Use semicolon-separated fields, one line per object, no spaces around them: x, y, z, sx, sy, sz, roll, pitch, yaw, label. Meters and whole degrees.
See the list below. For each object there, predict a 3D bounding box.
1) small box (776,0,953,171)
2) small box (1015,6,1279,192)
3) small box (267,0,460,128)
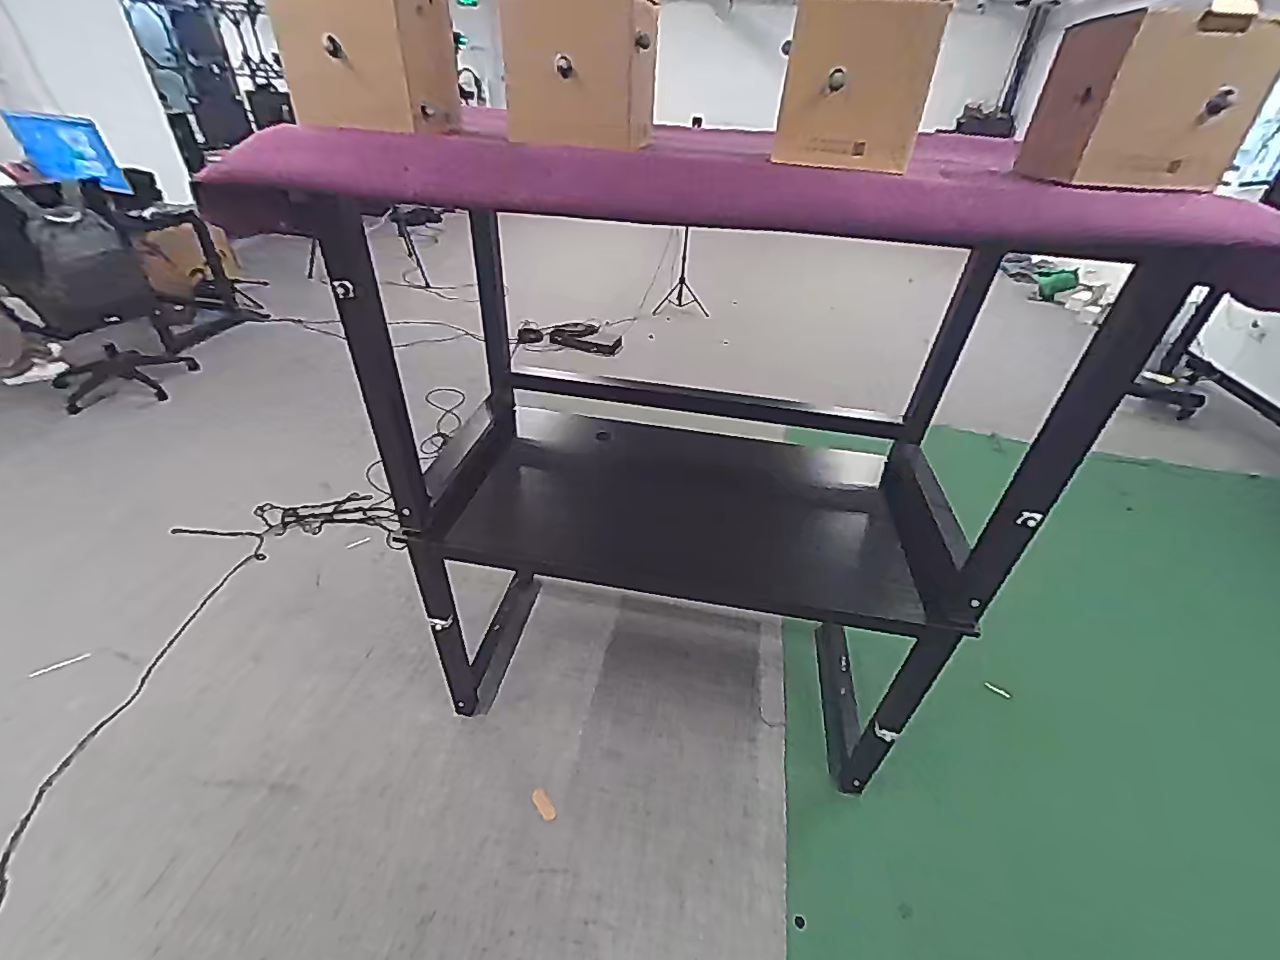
0.278;-0.508;0.703;0.168;0.176;0.179;12;36;11;small box
0.615;-0.464;0.670;0.168;0.176;0.179;8;35;5;small box
-0.370;-0.597;0.755;0.179;0.176;0.168;7;37;4;small box
